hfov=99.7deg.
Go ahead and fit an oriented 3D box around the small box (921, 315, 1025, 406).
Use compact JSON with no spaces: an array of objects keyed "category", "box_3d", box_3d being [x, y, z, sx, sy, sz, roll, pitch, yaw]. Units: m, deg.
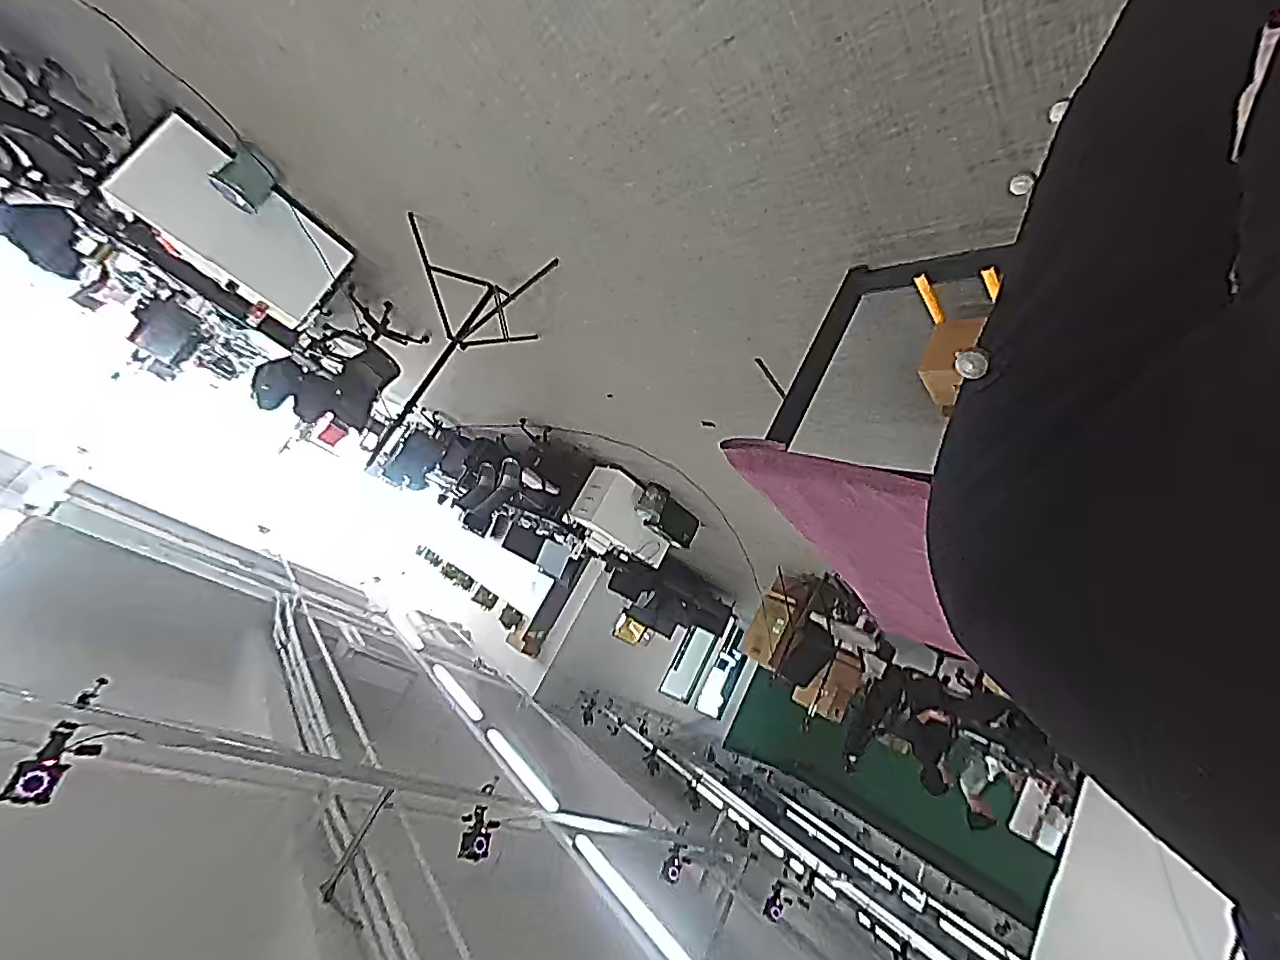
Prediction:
[{"category":"small box","box_3d":[0.891,-0.315,1.444,0.168,0.176,0.179,37,162,-36]}]
